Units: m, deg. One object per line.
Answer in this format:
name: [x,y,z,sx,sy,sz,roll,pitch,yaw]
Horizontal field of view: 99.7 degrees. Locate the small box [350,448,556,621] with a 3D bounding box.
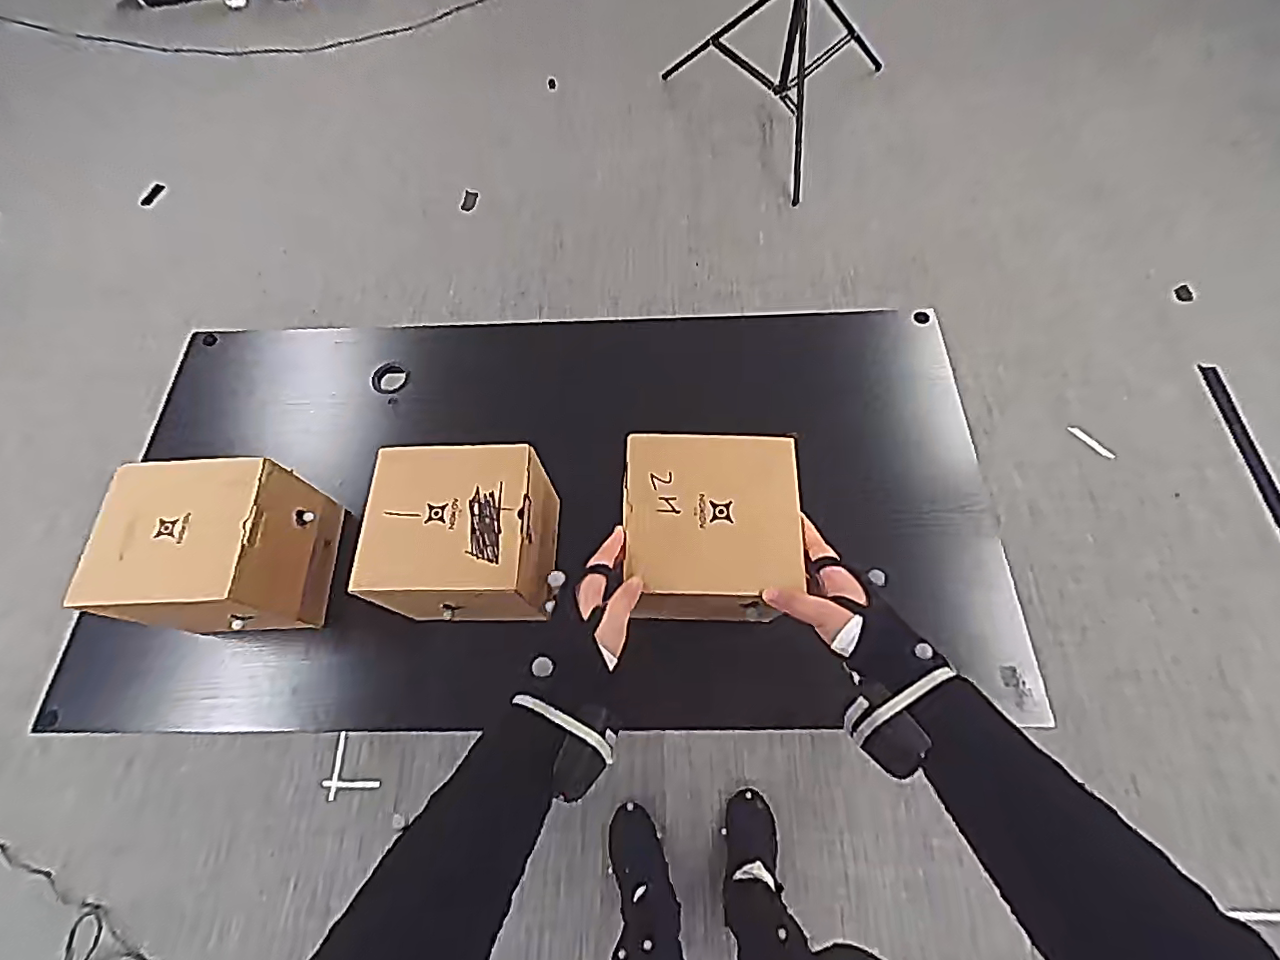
small box: [-0.204,0.072,0.649,0.179,0.176,0.168,-1,66,3]

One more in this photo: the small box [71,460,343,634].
small box: [-0.498,0.089,0.658,0.179,0.176,0.168,-4,65,2]

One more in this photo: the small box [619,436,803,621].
small box: [0.069,0.063,0.609,0.179,0.176,0.168,1,68,1]
